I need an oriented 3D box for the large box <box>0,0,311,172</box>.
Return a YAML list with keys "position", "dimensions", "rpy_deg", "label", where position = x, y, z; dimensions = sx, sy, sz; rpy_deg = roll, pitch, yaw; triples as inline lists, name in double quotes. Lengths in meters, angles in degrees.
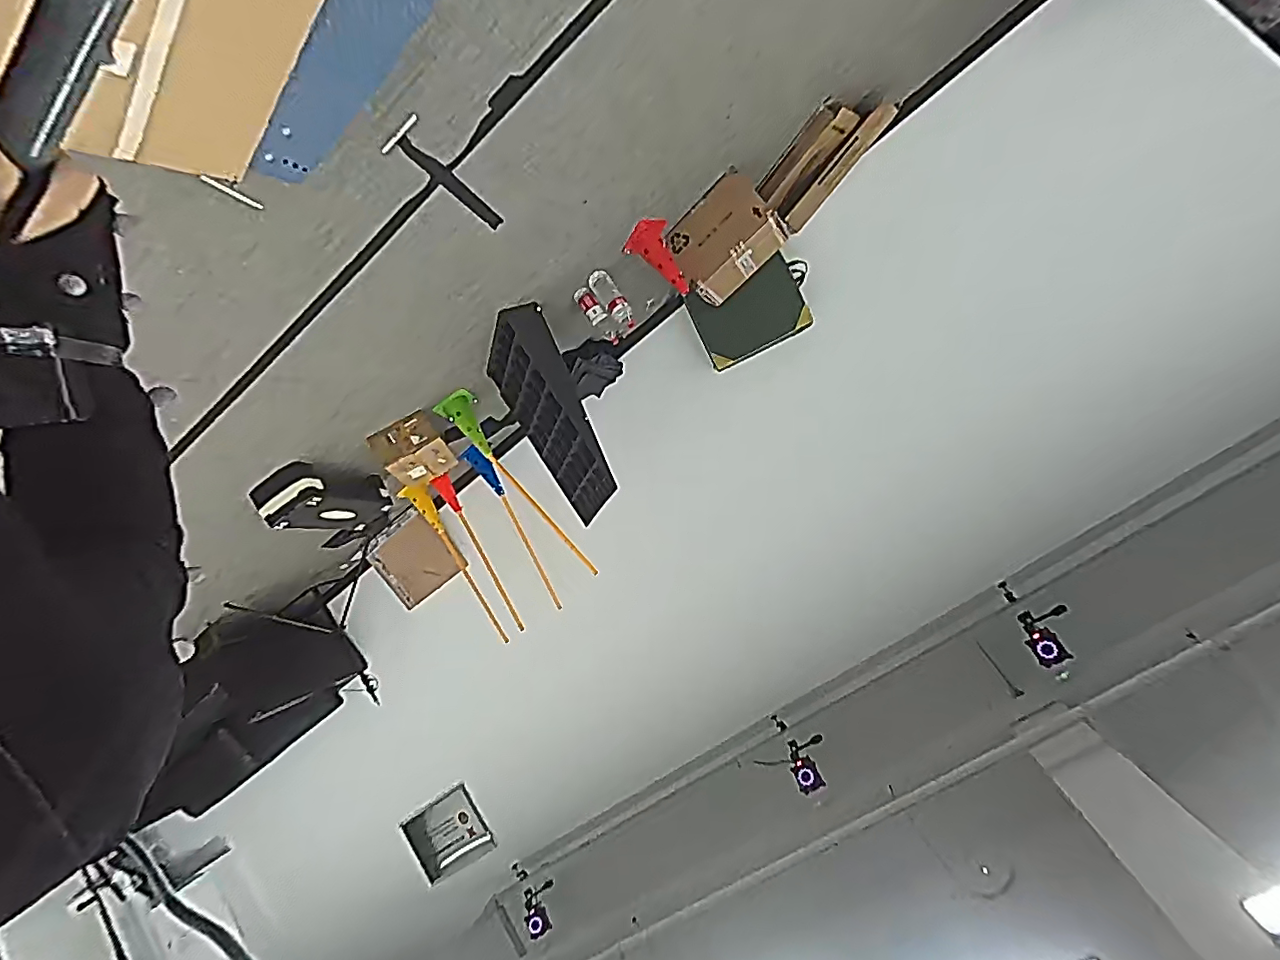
- position: [-0.634, -0.654, 0.606]
  dimensions: [0.408, 0.320, 0.320]
  rpy_deg: [-37, 180, 27]
  label: "large box"
